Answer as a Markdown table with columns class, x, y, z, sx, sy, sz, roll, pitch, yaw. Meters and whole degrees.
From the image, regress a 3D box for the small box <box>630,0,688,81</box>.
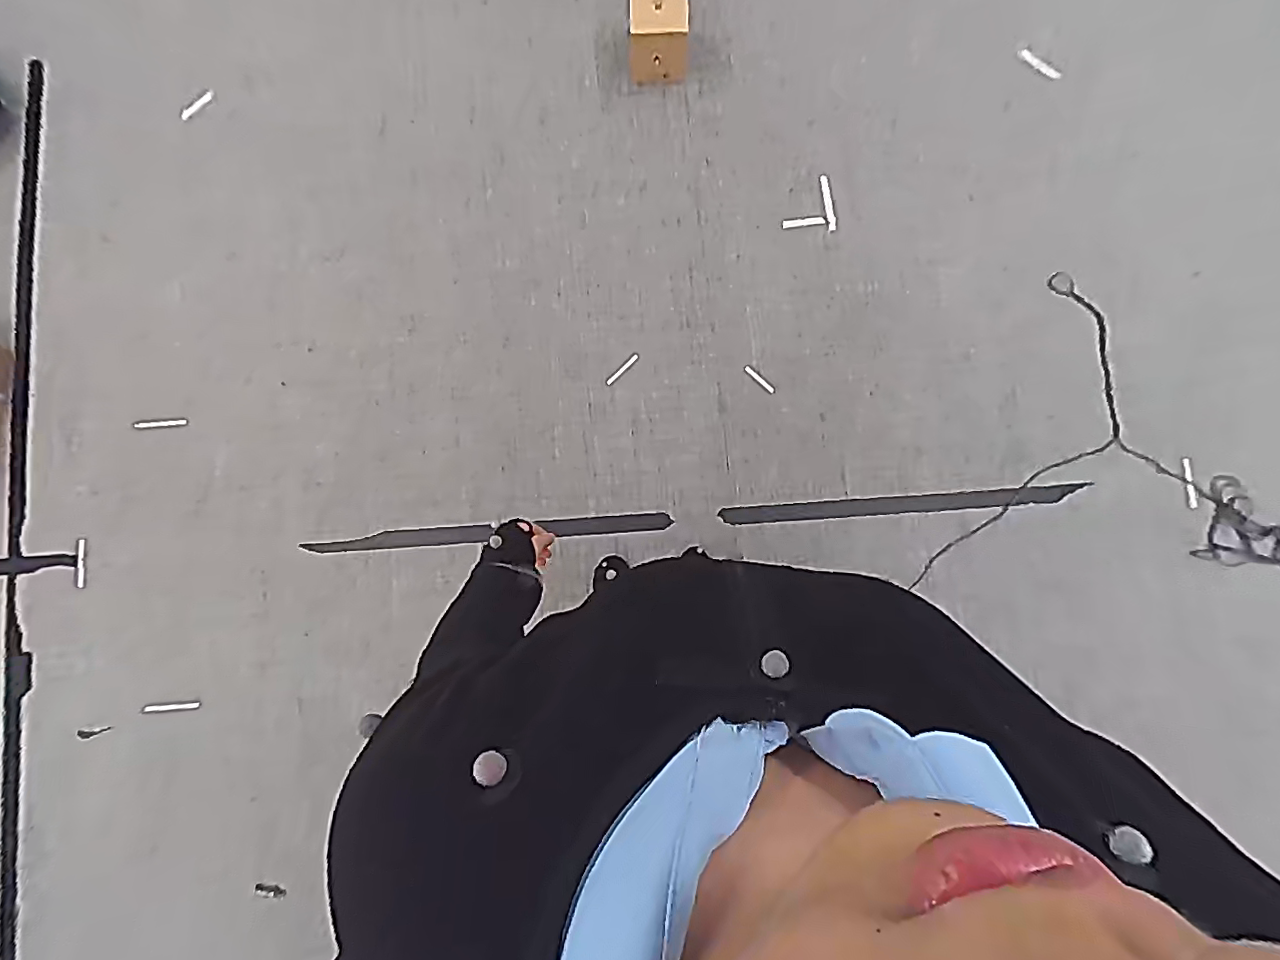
| class | x | y | z | sx | sy | sz | roll | pitch | yaw |
| --- | --- | --- | --- | --- | --- | --- | --- | --- | --- |
| small box | 0.057 | -1.320 | 1.597 | 0.168 | 0.176 | 0.179 | -1 | 83 | 1 |
